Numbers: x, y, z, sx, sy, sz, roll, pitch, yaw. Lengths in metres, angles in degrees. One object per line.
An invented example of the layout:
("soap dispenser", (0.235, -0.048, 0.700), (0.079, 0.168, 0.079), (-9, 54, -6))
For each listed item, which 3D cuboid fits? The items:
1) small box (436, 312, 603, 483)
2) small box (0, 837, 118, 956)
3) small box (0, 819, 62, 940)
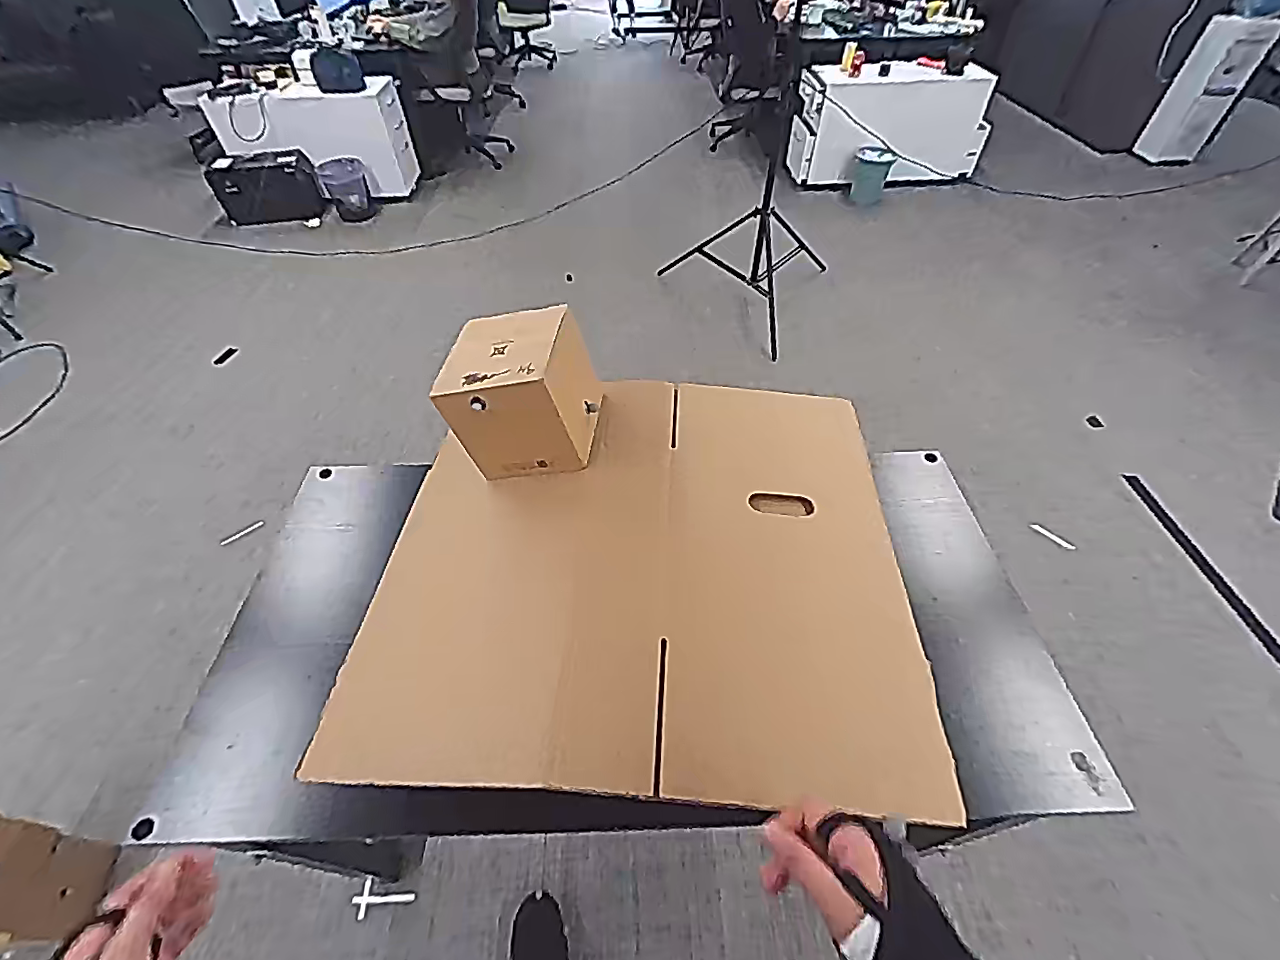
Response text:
("small box", (-0.163, -0.119, 0.800), (0.168, 0.176, 0.179), (-6, 46, 15))
("small box", (-1.266, 0.873, 1.132), (0.168, 0.176, 0.179), (-5, 49, -3))
("small box", (-1.270, 0.761, 1.014), (0.168, 0.176, 0.179), (-7, 48, -6))
